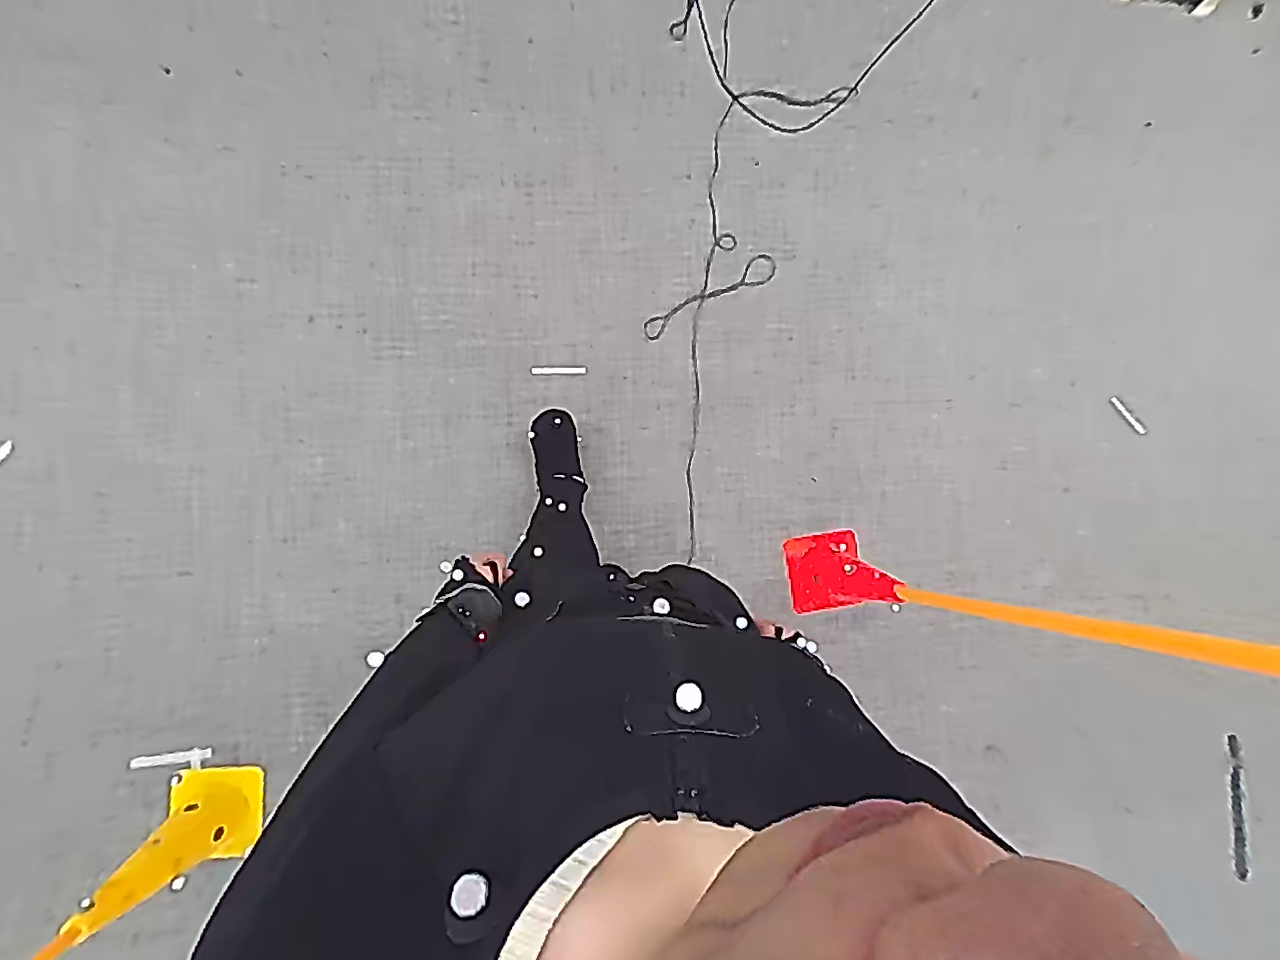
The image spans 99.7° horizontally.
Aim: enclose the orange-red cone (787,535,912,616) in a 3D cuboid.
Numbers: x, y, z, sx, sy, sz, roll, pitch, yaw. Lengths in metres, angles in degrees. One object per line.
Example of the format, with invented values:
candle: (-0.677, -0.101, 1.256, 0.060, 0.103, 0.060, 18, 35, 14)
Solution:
orange-red cone: (0.501, 0.237, 1.236, 0.199, 0.360, 0.198, -7, 87, -5)
